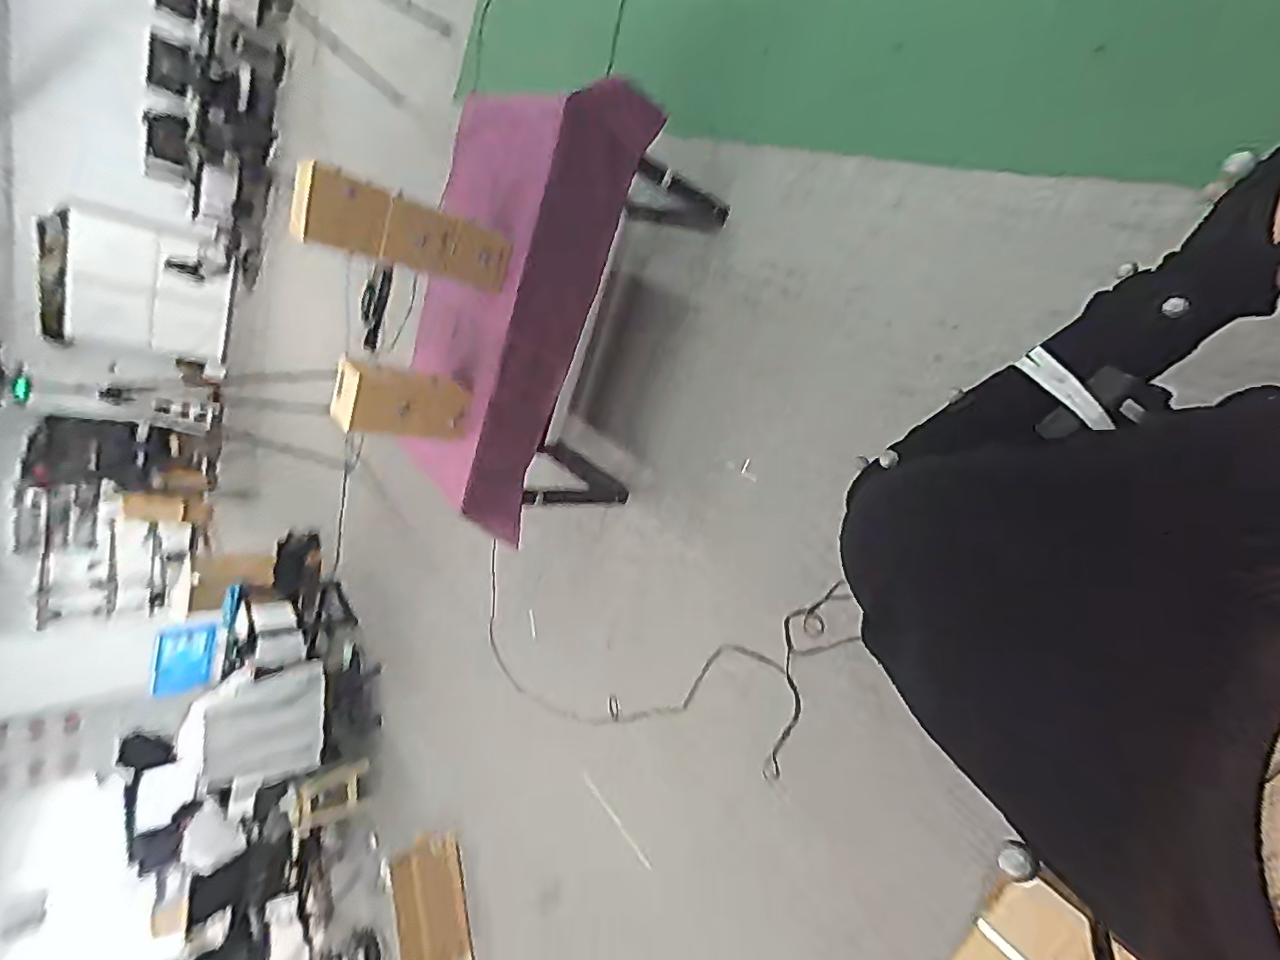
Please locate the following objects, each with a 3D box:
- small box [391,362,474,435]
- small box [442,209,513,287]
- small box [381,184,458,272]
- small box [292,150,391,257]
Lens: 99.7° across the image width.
[{"bbox_3d":[-0.644,-0.247,1.681,0.179,0.176,0.168,37,114,38],"label":"small box"},{"bbox_3d":[-0.487,-0.665,1.544,0.179,0.176,0.168,36,112,39],"label":"small box"},{"bbox_3d":[-0.605,-0.666,1.427,0.179,0.176,0.168,35,112,40],"label":"small box"},{"bbox_3d":[-0.724,-0.669,1.316,0.168,0.176,0.179,36,114,41],"label":"small box"}]
